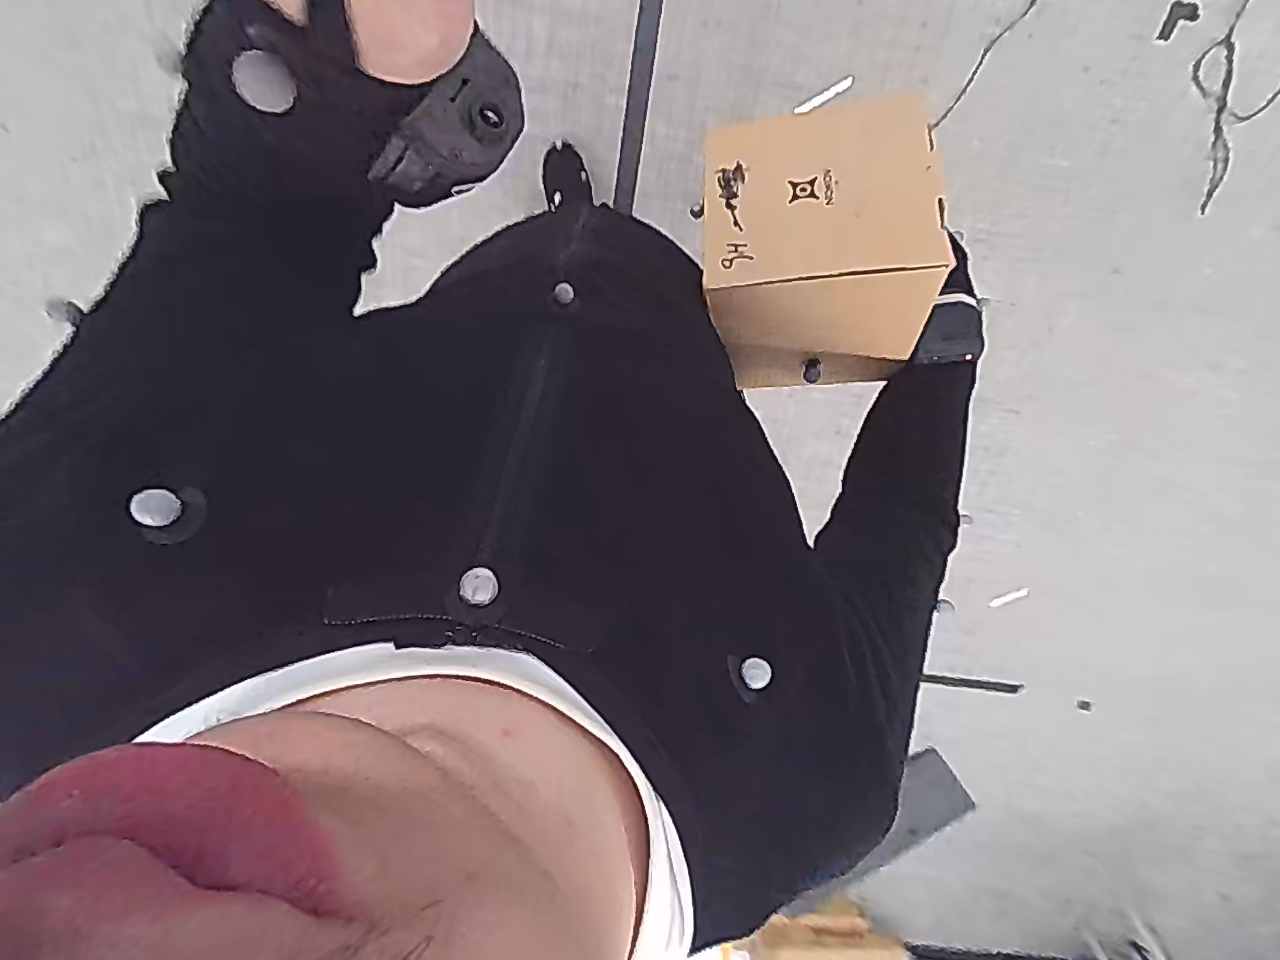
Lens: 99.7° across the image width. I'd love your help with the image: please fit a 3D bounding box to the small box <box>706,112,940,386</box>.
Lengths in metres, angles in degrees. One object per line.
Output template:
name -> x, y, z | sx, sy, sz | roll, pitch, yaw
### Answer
small box -> 0.159, -0.202, 0.516 | 0.179, 0.168, 0.176 | -1, 161, 13
